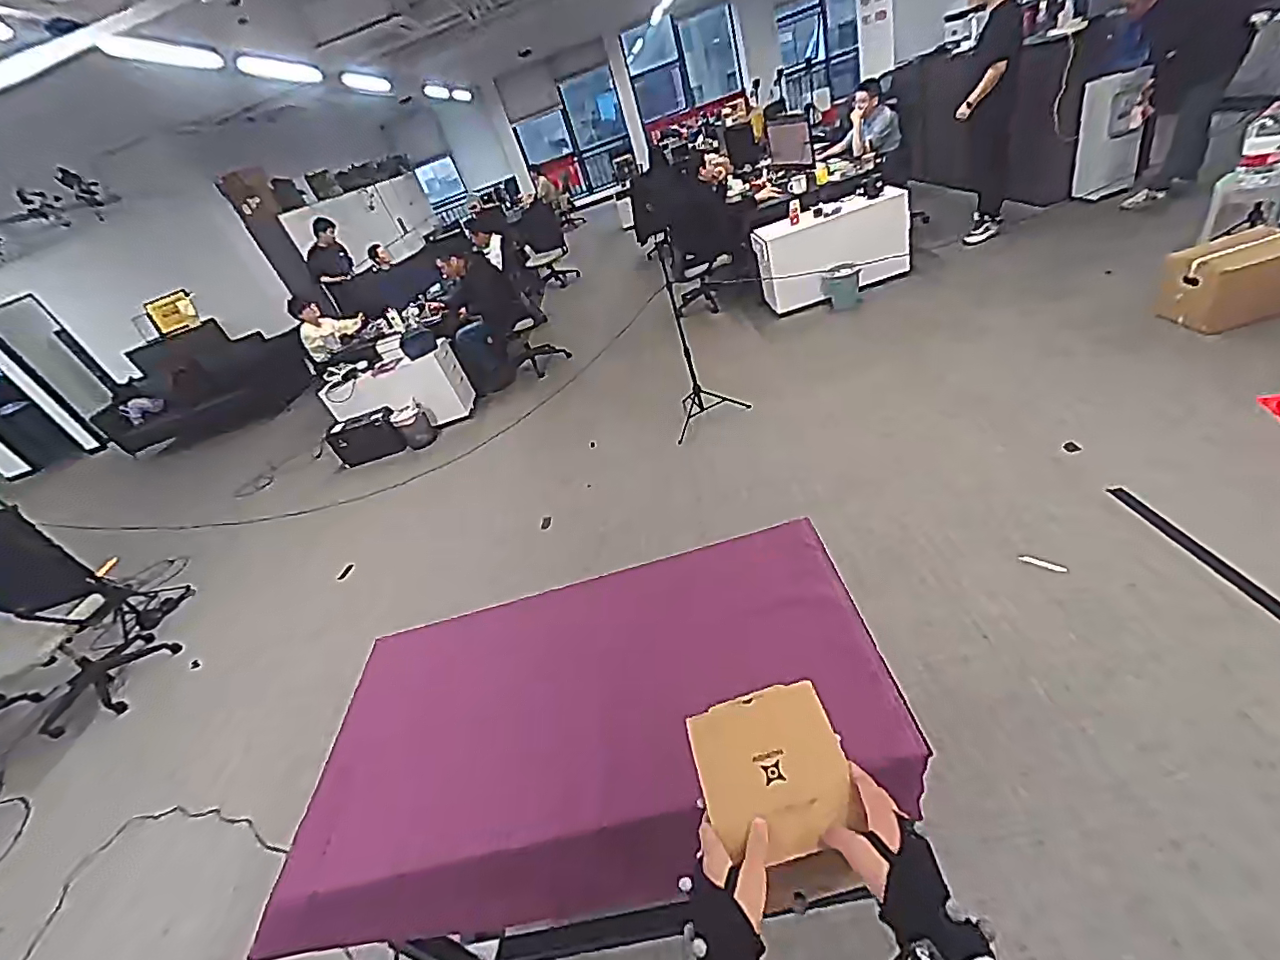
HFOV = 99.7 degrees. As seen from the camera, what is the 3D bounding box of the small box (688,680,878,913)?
[{"bbox_3d":[0.170,0.384,0.661,0.168,0.176,0.179,-19,37,3],"label":"small box"}]
